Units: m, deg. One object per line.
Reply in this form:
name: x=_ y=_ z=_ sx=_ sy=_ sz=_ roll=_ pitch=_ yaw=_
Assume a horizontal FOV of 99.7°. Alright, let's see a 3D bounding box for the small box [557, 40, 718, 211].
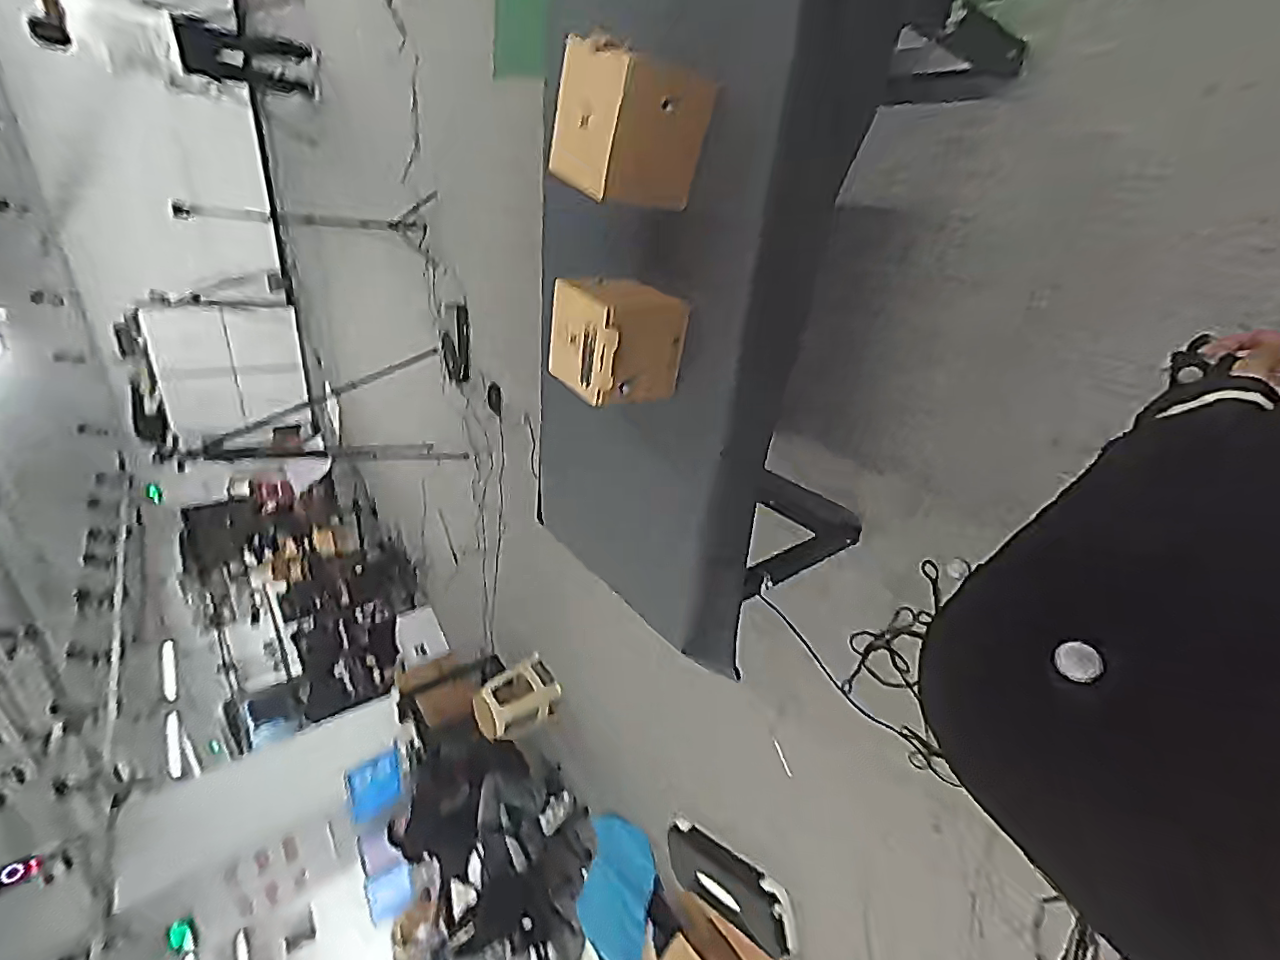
small box: x=-0.005 y=-0.534 z=0.830 sx=0.168 sy=0.176 sz=0.179 roll=48 pitch=137 yaw=34
